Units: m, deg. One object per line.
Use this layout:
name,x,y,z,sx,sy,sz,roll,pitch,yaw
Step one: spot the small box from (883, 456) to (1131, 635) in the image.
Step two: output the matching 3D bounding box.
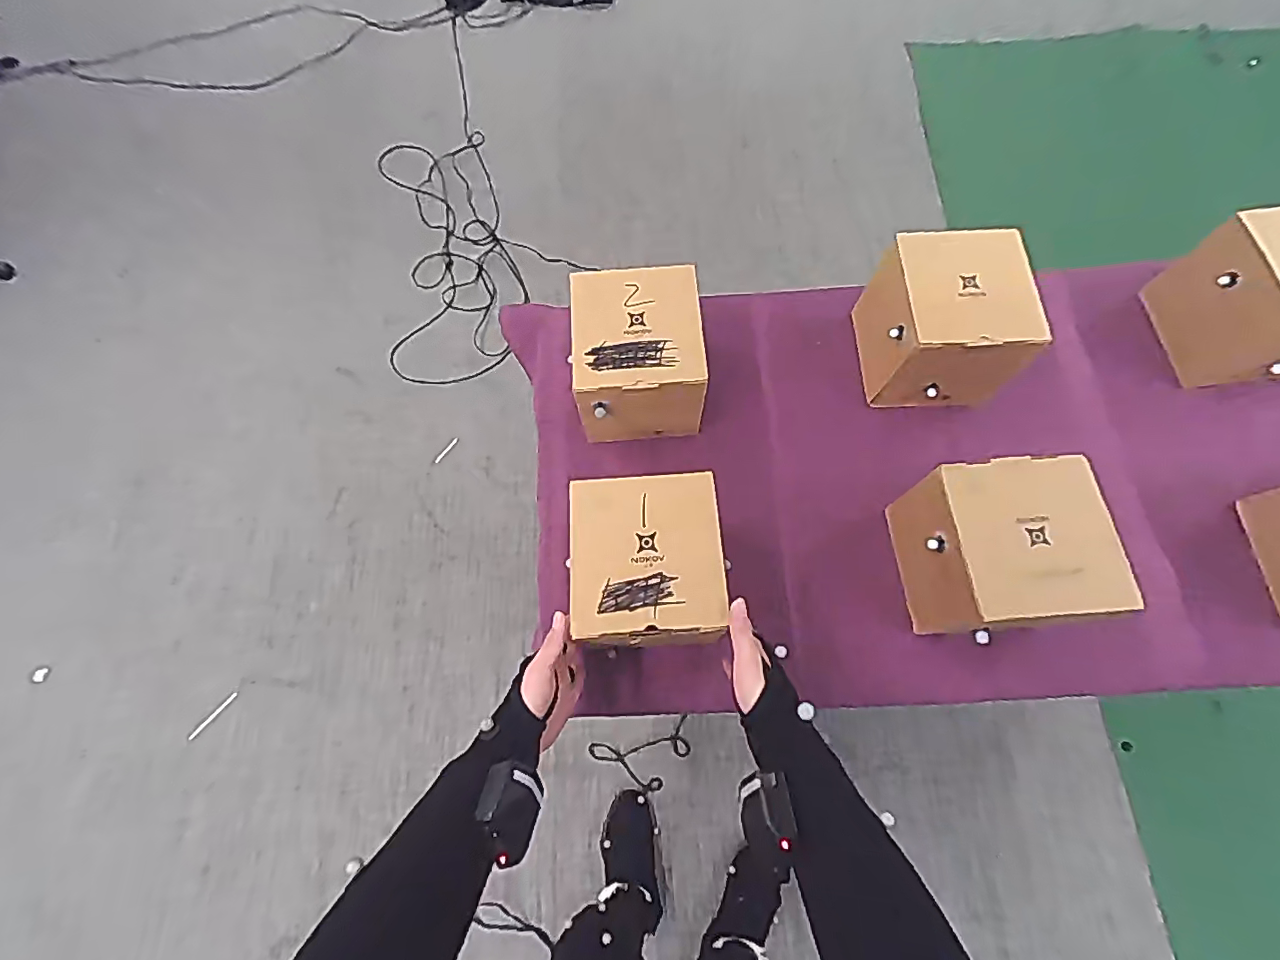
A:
small box,0.416,0.086,0.653,0.168,0.176,0.179,-4,69,3

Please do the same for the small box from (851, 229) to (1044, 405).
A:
small box,0.413,-0.222,0.762,0.168,0.176,0.179,-2,73,2

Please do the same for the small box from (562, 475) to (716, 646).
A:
small box,0.000,0.108,0.665,0.168,0.176,0.179,-4,68,1

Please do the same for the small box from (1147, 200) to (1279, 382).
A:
small box,0.867,-0.257,0.745,0.168,0.176,0.179,-6,71,4

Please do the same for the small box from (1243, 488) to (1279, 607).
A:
small box,0.884,0.078,0.627,0.168,0.176,0.179,-3,71,3
